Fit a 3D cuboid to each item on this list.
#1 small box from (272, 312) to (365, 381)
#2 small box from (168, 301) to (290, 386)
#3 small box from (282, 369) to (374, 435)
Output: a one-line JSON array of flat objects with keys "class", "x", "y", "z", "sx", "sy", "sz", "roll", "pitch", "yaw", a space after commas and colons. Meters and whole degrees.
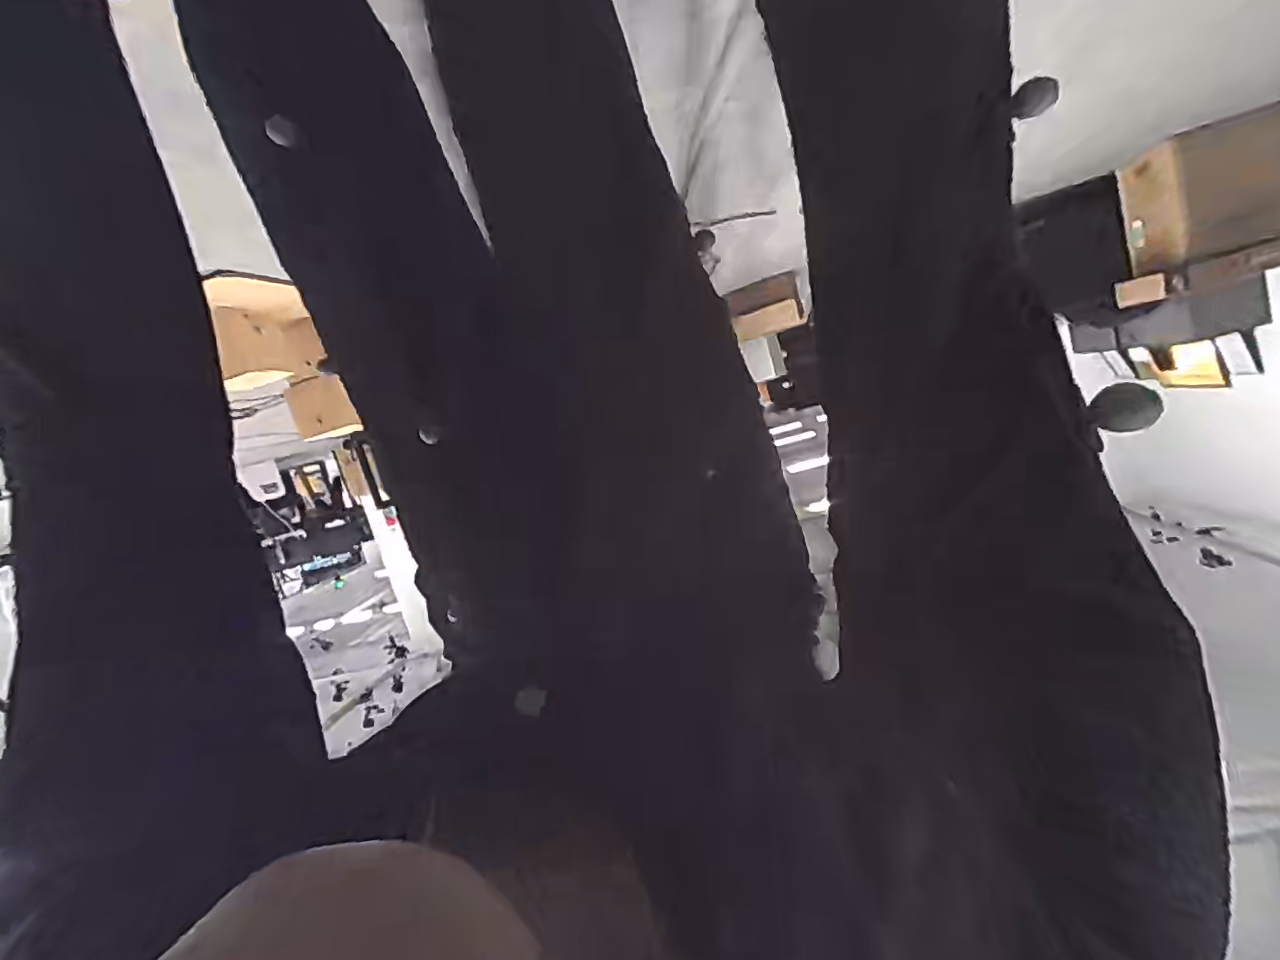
[{"class": "small box", "x": -1.005, "y": -0.411, "z": 1.677, "sx": 0.179, "sy": 0.176, "sz": 0.168, "roll": -14, "pitch": -171, "yaw": 17}, {"class": "small box", "x": -1.077, "y": -0.352, "z": 1.414, "sx": 0.179, "sy": 0.176, "sz": 0.168, "roll": -16, "pitch": -171, "yaw": 10}, {"class": "small box", "x": -0.987, "y": -0.249, "z": 1.704, "sx": 0.179, "sy": 0.176, "sz": 0.168, "roll": -14, "pitch": -172, "yaw": 14}]
